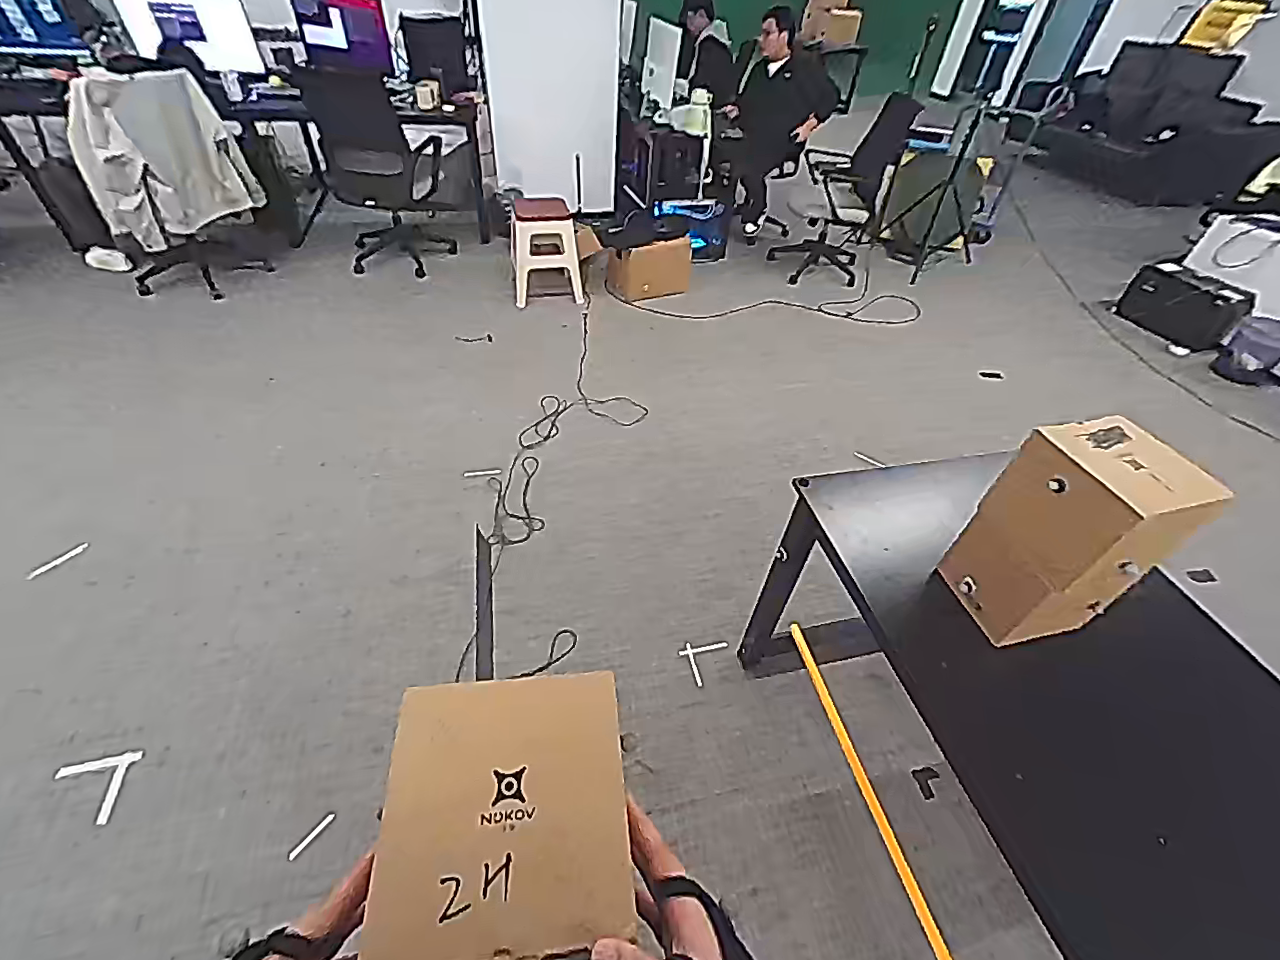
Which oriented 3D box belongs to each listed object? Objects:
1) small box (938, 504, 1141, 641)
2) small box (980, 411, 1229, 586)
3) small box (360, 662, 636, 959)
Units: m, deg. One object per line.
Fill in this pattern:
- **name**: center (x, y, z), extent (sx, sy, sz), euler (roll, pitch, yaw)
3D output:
- **small box**: center (0.645, 0.143, 0.899), extent (0.179, 0.176, 0.168), euler (-9, 45, -12)
- **small box**: center (0.648, 0.025, 0.784), extent (0.168, 0.176, 0.179), euler (-9, 46, -14)
- **small box**: center (-0.099, 0.272, 0.438), extent (0.168, 0.176, 0.179), euler (-3, 46, -8)
